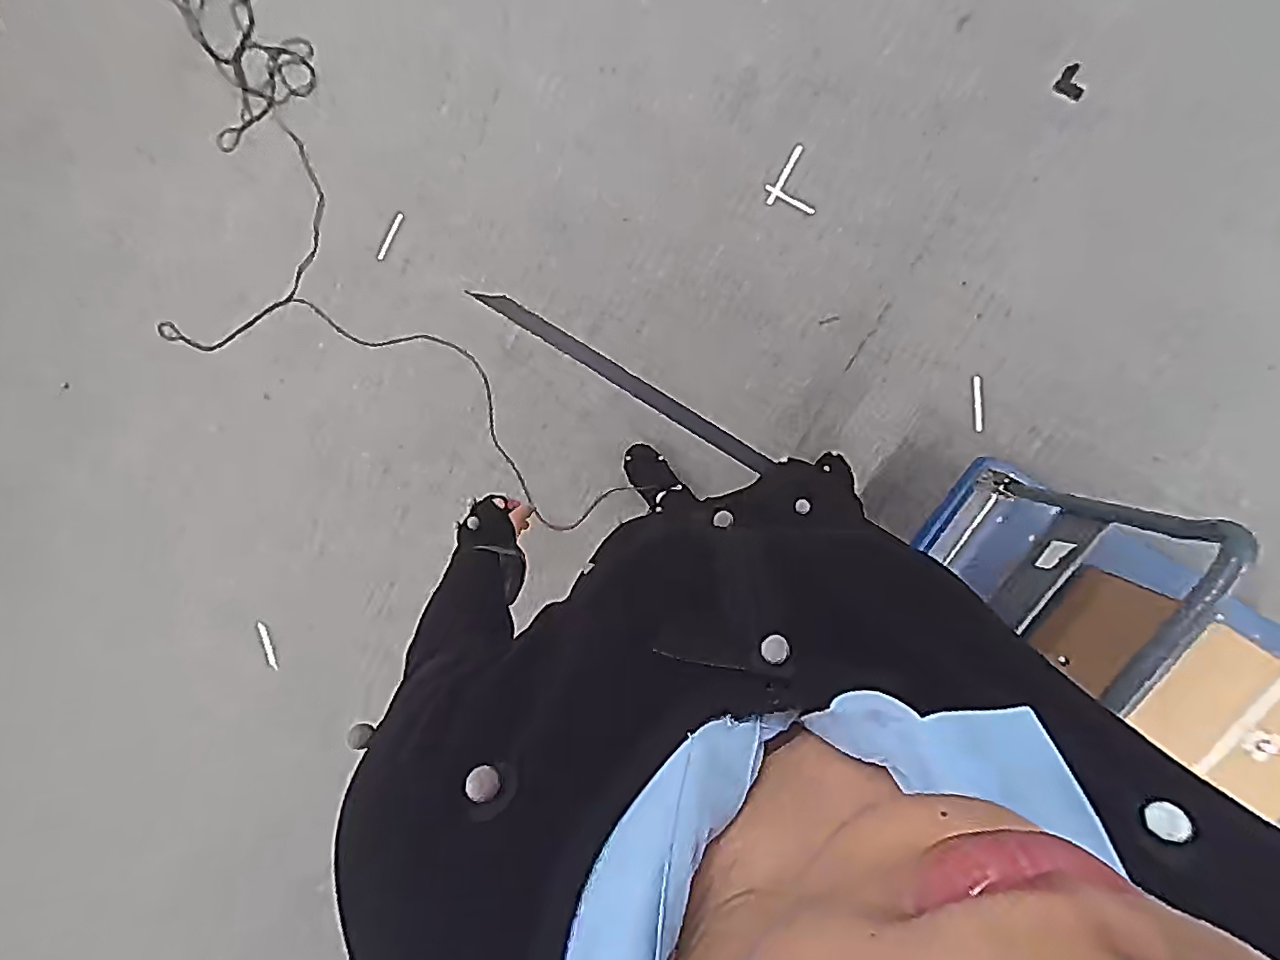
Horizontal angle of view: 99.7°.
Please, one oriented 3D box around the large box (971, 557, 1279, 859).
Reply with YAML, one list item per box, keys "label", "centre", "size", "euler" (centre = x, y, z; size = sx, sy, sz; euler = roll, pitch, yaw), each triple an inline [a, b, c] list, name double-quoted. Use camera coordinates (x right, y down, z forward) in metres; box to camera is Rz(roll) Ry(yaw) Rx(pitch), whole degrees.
- label: "large box"
  centre: [0.992, 0.432, 1.108]
  size: [0.320, 0.320, 0.408]
  euler: [33, 99, 3]
